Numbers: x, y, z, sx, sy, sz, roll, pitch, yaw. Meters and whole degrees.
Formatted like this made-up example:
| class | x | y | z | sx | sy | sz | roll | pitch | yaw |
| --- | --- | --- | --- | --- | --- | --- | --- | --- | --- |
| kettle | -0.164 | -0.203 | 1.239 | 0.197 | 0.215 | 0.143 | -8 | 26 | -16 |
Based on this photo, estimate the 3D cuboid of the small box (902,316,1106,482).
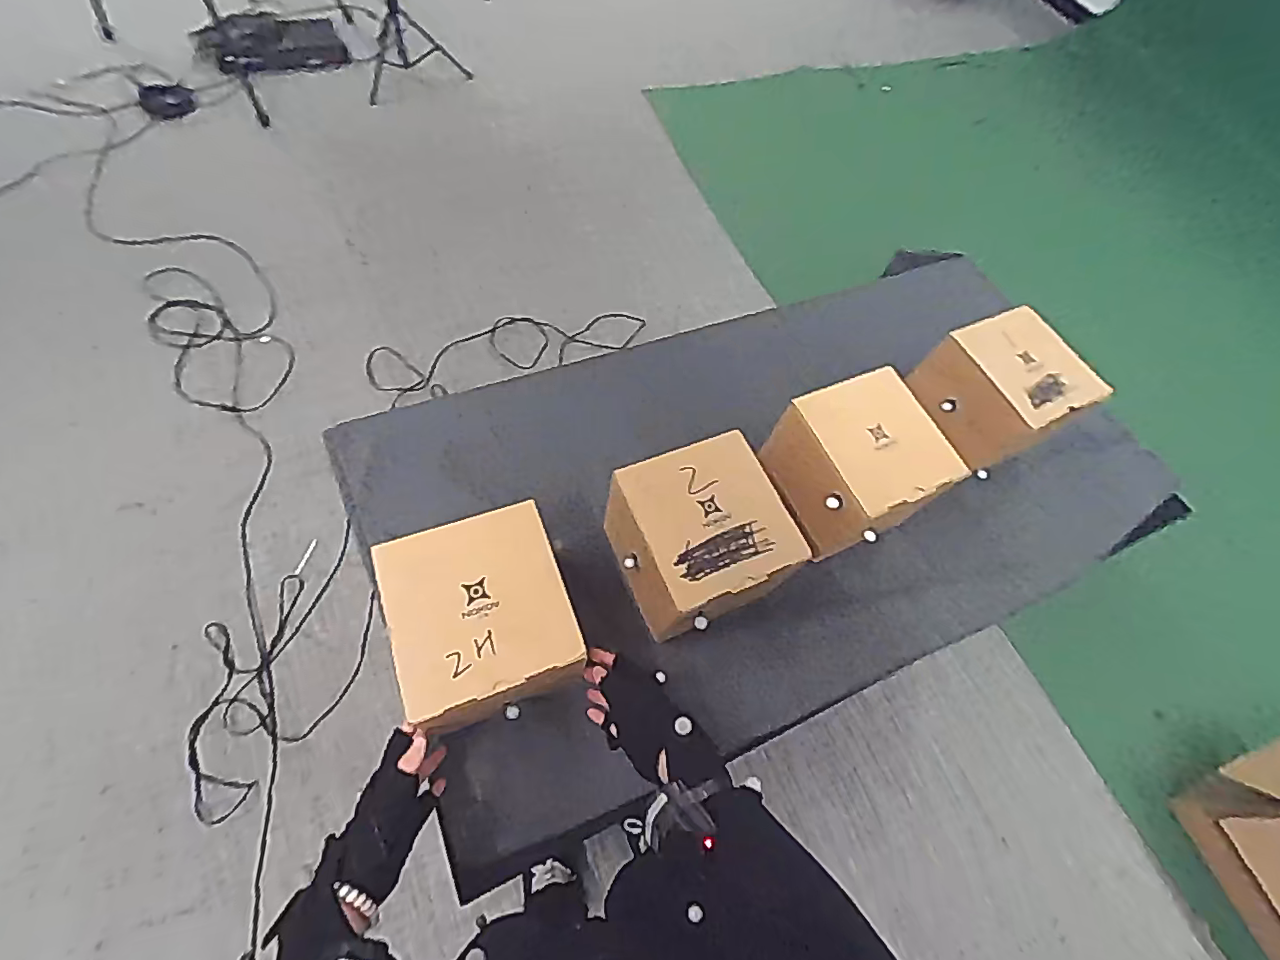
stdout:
| class | x | y | z | sx | sy | sz | roll | pitch | yaw |
| --- | --- | --- | --- | --- | --- | --- | --- | --- | --- |
| small box | 0.534 | -0.115 | 0.833 | 0.168 | 0.176 | 0.179 | -21 | 67 | -17 |

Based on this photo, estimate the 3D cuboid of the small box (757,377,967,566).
| class | x | y | z | sx | sy | sz | roll | pitch | yaw |
| --- | --- | --- | --- | --- | --- | --- | --- | --- | --- |
| small box | 0.288 | -0.007 | 0.746 | 0.168 | 0.176 | 0.179 | -20 | 68 | -18 |

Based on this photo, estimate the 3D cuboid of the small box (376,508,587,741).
| class | x | y | z | sx | sy | sz | roll | pitch | yaw |
| --- | --- | --- | --- | --- | --- | --- | --- | --- | --- |
| small box | -0.165 | 0.161 | 0.586 | 0.168 | 0.176 | 0.179 | -17 | 64 | -16 |
